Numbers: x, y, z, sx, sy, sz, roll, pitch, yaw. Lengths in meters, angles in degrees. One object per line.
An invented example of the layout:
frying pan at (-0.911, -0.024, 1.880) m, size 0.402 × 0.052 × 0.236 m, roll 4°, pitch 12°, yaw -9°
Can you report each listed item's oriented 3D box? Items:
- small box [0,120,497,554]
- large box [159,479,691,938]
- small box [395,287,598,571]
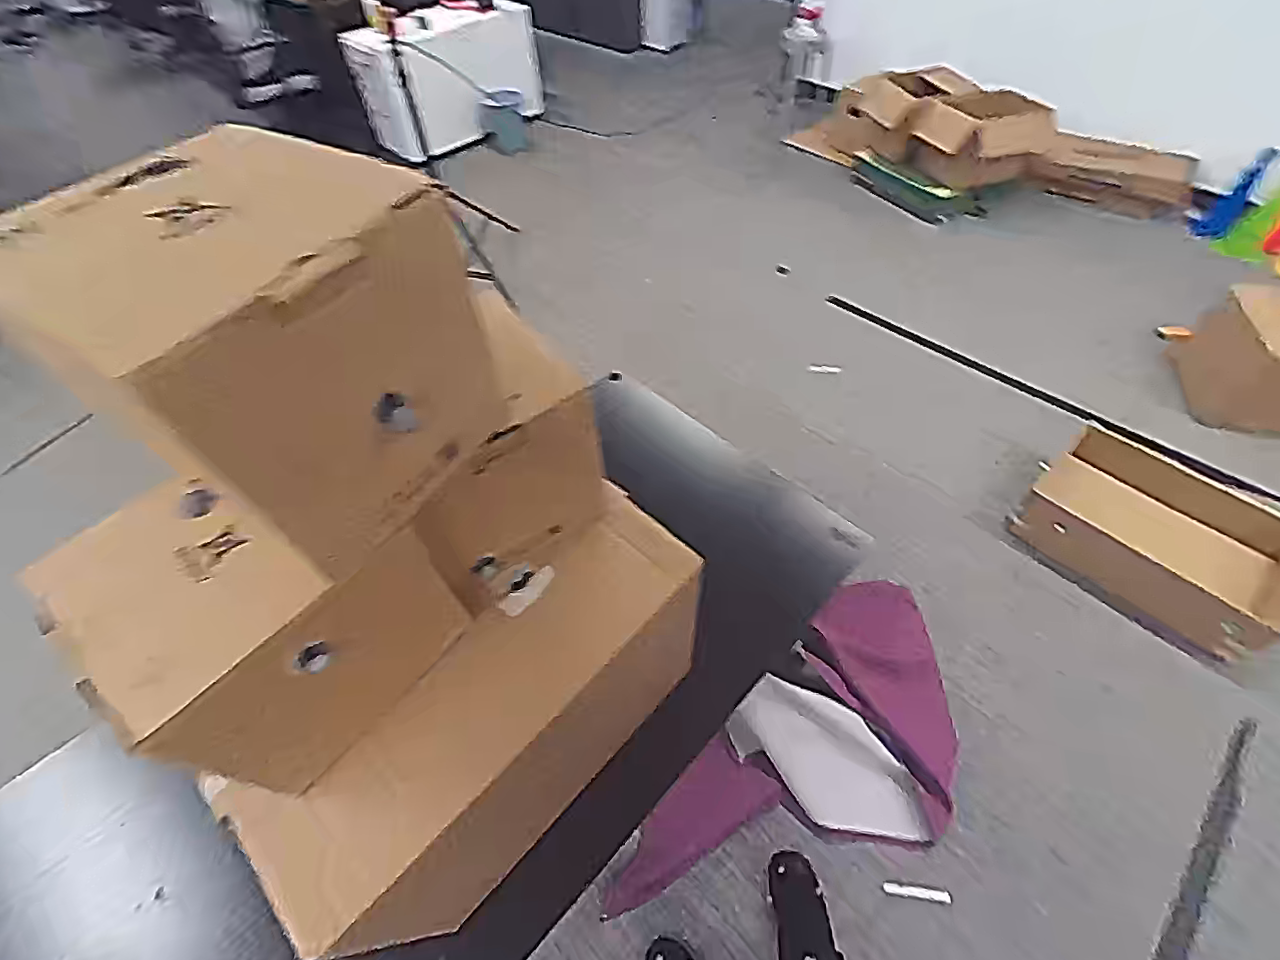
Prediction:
small box at (-0.214, -0.079, 0.327) m, size 0.179 × 0.176 × 0.168 m, roll 25°, pitch 58°, yaw 18°
large box at (-0.187, 0.203, 0.623) m, size 0.320 × 0.320 × 0.408 m, roll 36°, pitch 61°, yaw 24°
small box at (-0.153, -0.039, 0.499) m, size 0.168 × 0.176 × 0.179 m, roll -31°, pitch 57°, yaw -19°
